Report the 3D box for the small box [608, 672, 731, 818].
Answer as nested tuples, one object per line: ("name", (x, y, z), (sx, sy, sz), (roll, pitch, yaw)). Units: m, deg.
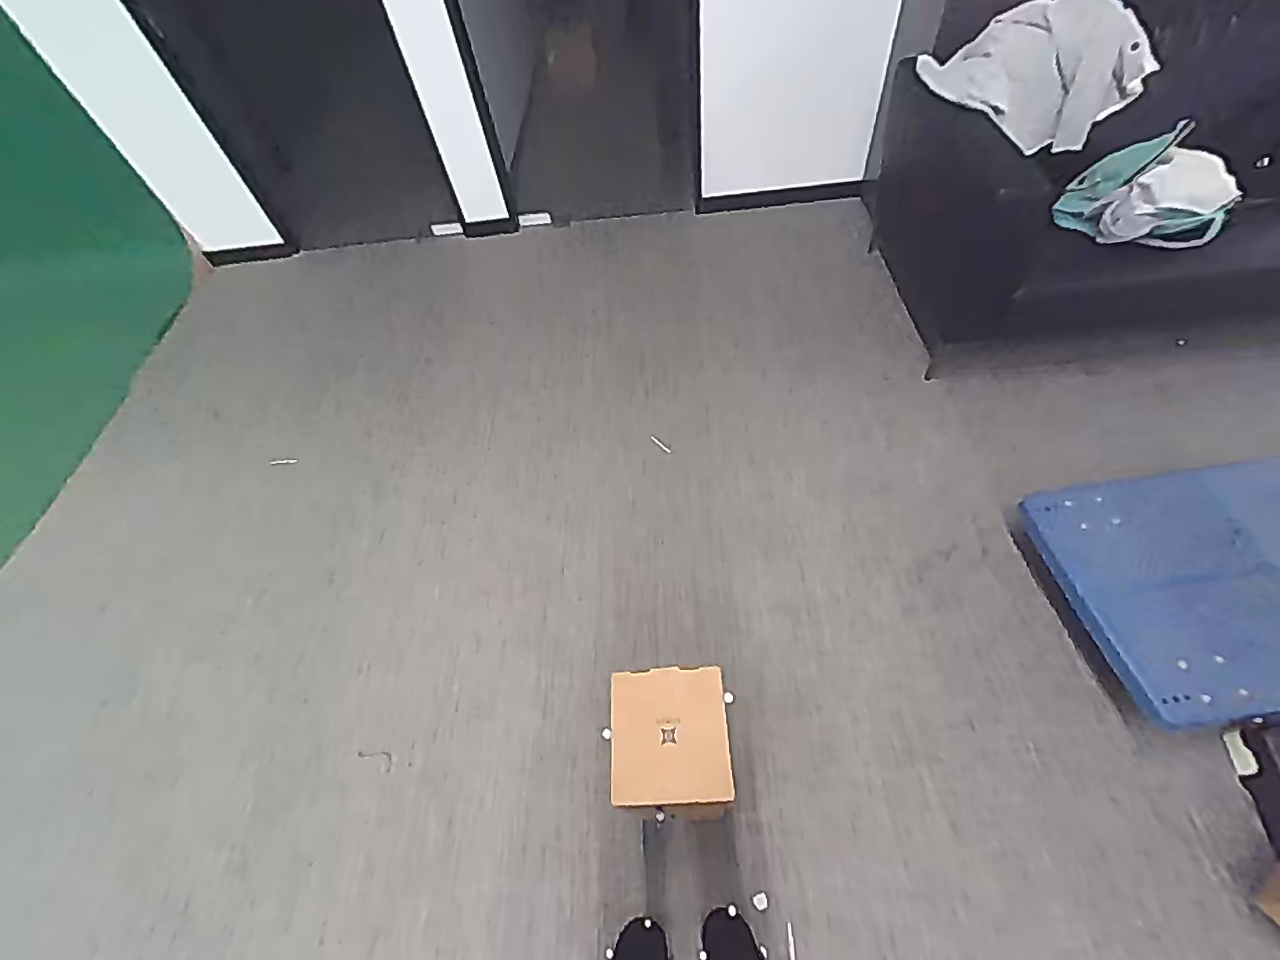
("small box", (0.046, 0.404, 0.814), (0.168, 0.176, 0.179), (-5, 54, 4))
